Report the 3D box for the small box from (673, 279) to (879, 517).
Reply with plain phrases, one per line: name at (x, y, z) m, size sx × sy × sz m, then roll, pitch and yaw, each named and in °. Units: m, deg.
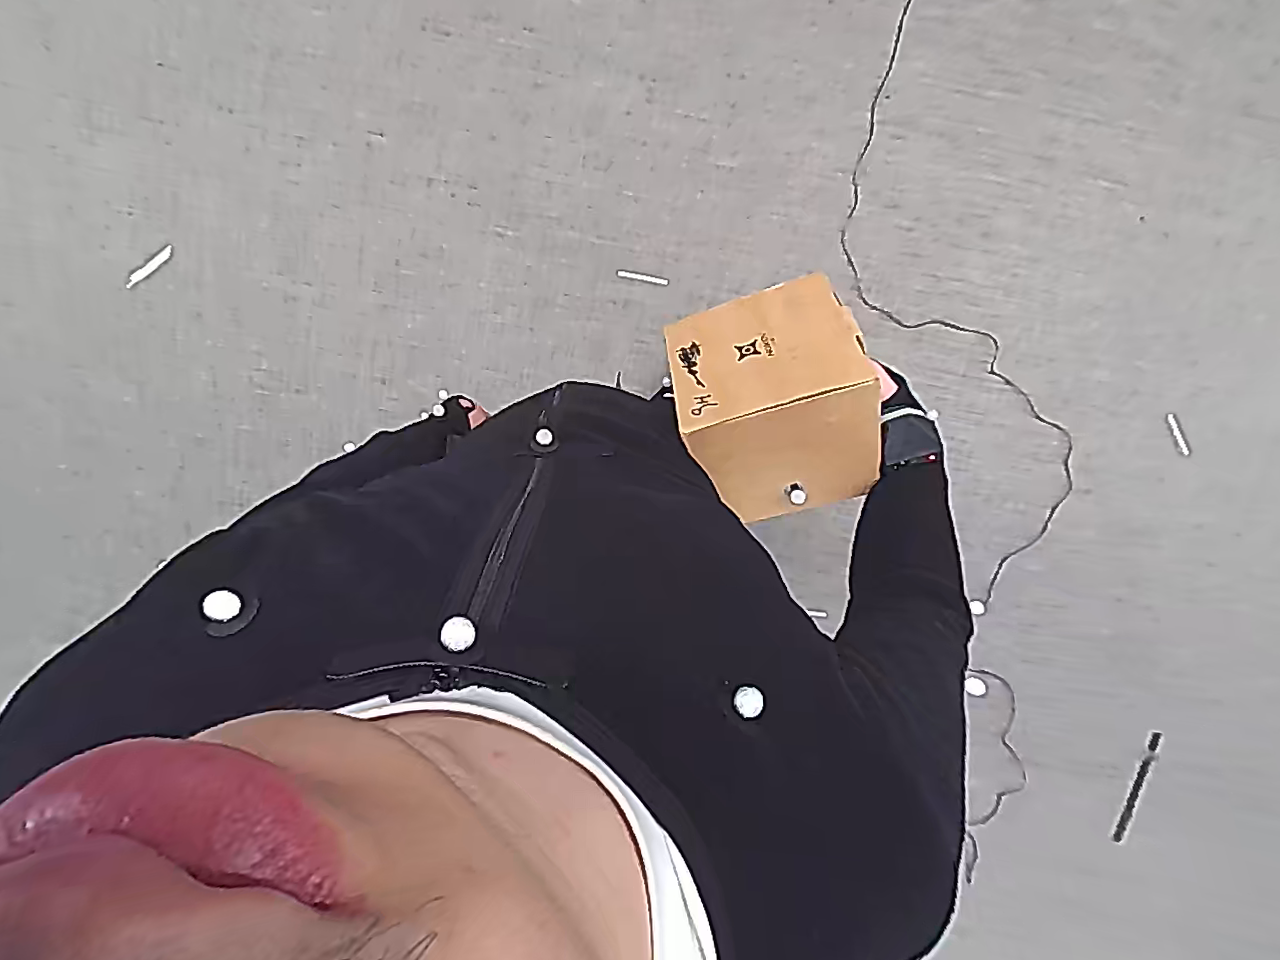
small box at (0.147, -0.082, 0.597) m, size 0.179 × 0.168 × 0.176 m, roll -15°, pitch 139°, yaw 12°
